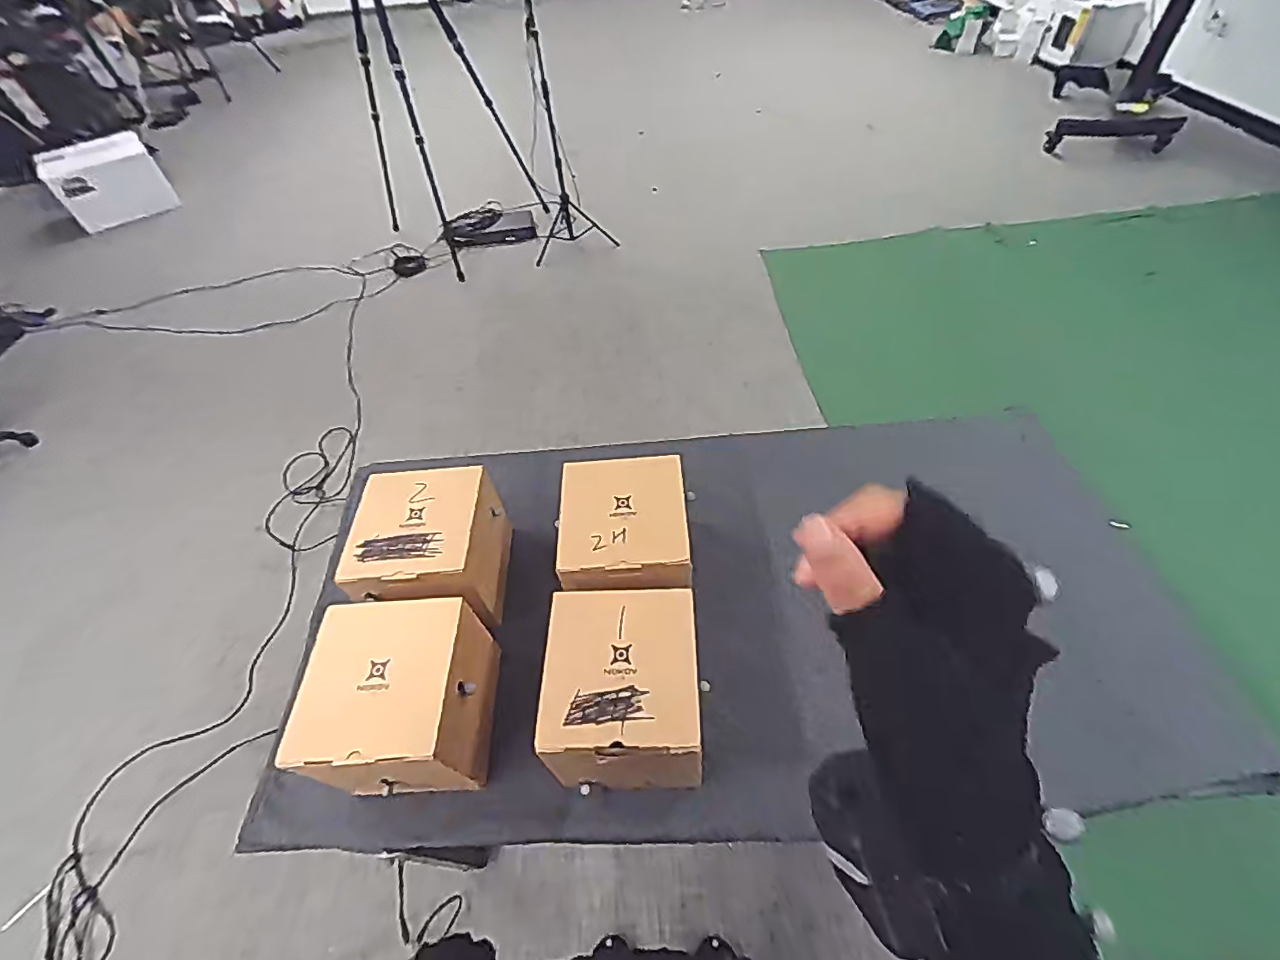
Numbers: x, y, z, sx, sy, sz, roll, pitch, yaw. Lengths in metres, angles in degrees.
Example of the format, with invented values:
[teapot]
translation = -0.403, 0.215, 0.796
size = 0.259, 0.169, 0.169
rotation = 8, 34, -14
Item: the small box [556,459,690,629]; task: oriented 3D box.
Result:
[small box]
translation = -0.018, 0.093, 0.769
size = 0.168, 0.176, 0.179
rotation = -4, 51, 2
